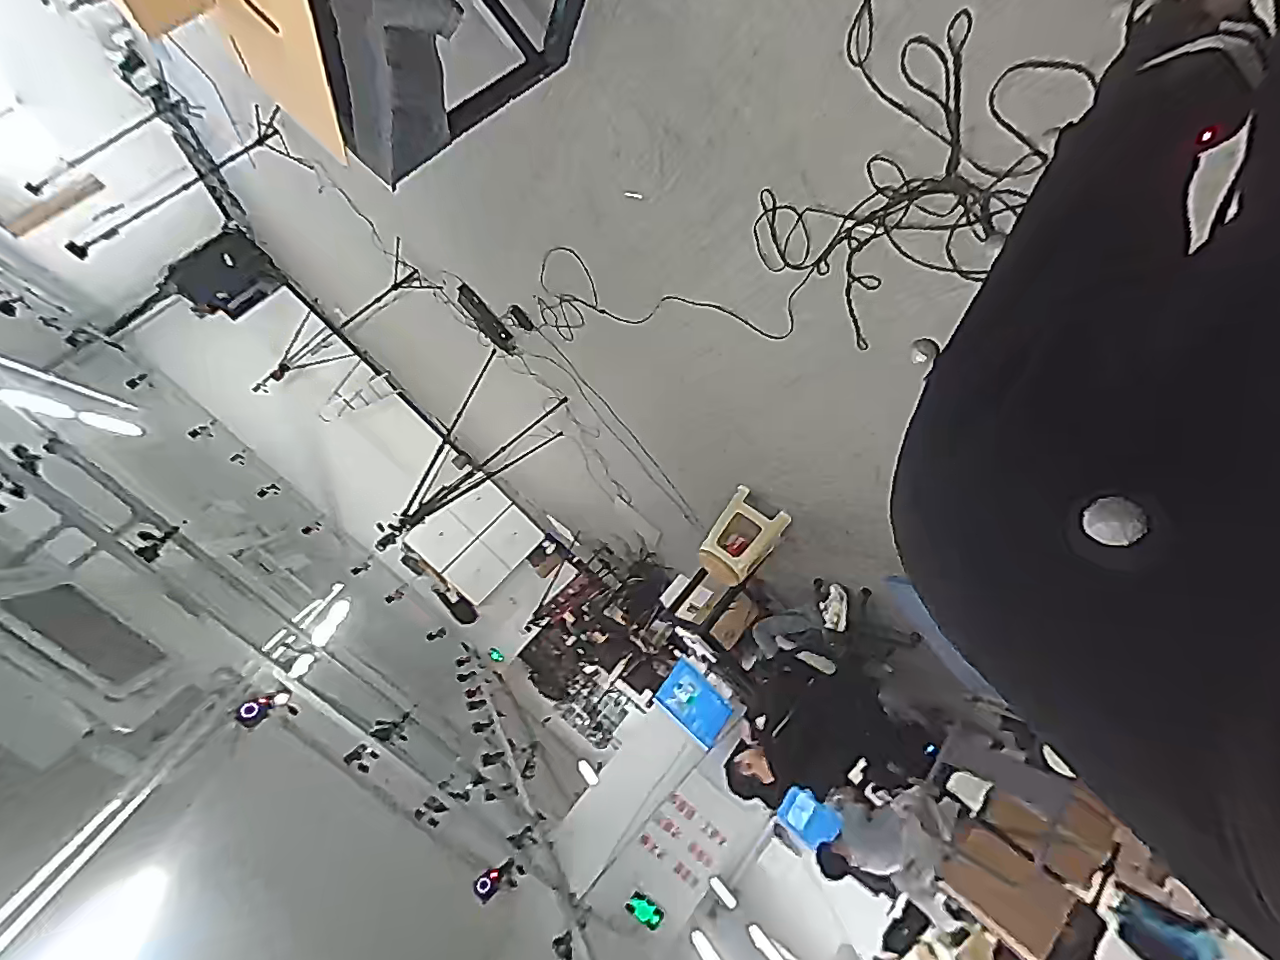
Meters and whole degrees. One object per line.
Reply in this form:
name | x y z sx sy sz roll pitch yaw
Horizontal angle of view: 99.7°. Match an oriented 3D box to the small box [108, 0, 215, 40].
small box | -0.997 -1.035 1.056 0.179 0.176 0.168 46 165 -12
